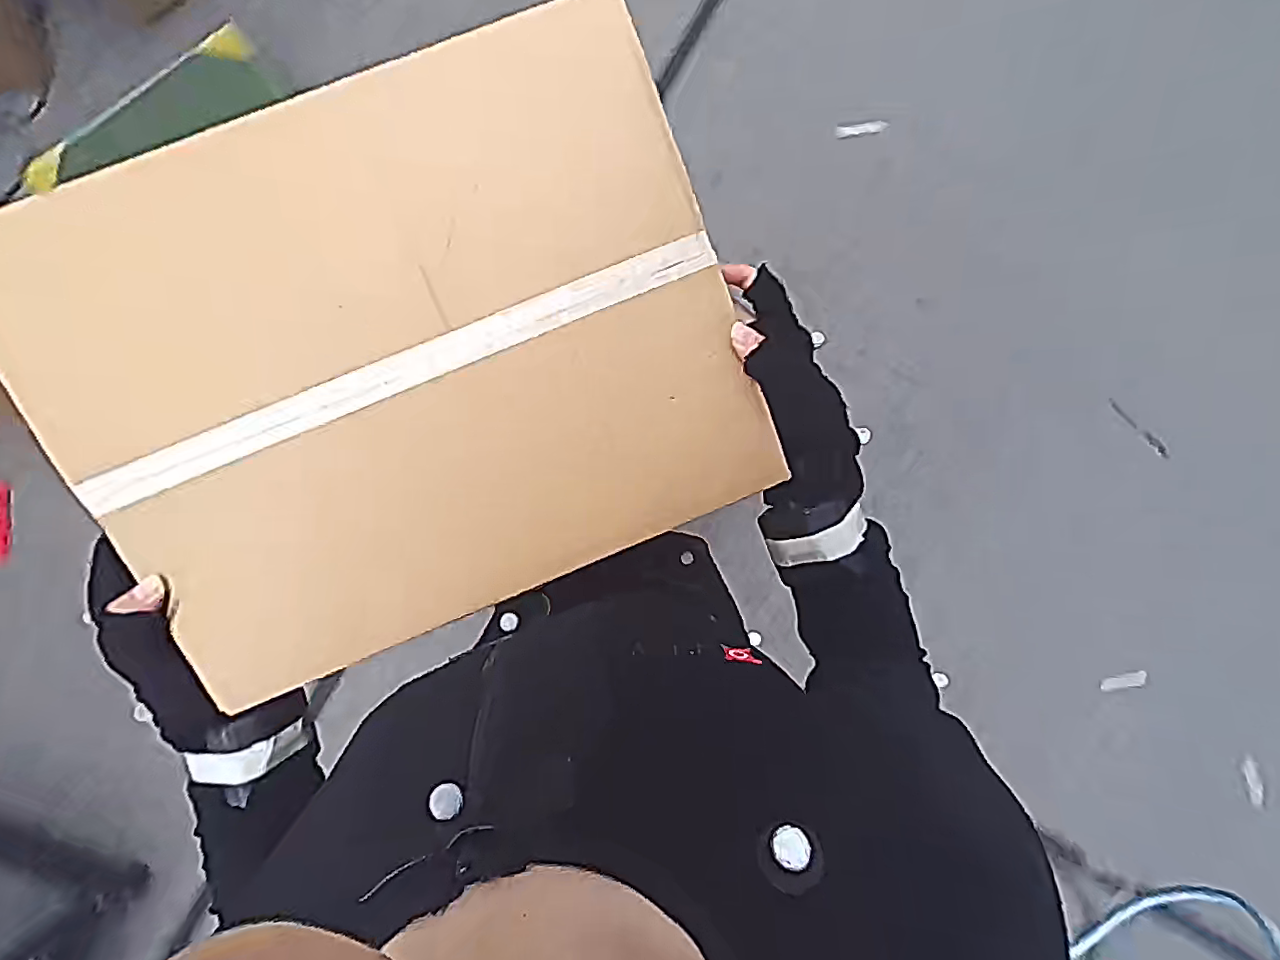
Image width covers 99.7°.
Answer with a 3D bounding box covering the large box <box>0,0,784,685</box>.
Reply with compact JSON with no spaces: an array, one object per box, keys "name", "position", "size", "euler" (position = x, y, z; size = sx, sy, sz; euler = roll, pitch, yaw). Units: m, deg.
[{"name":"large box","position":[-0.151,-0.097,0.485],"size":[0.408,0.320,0.320],"euler":[-22,103,-2]}]
